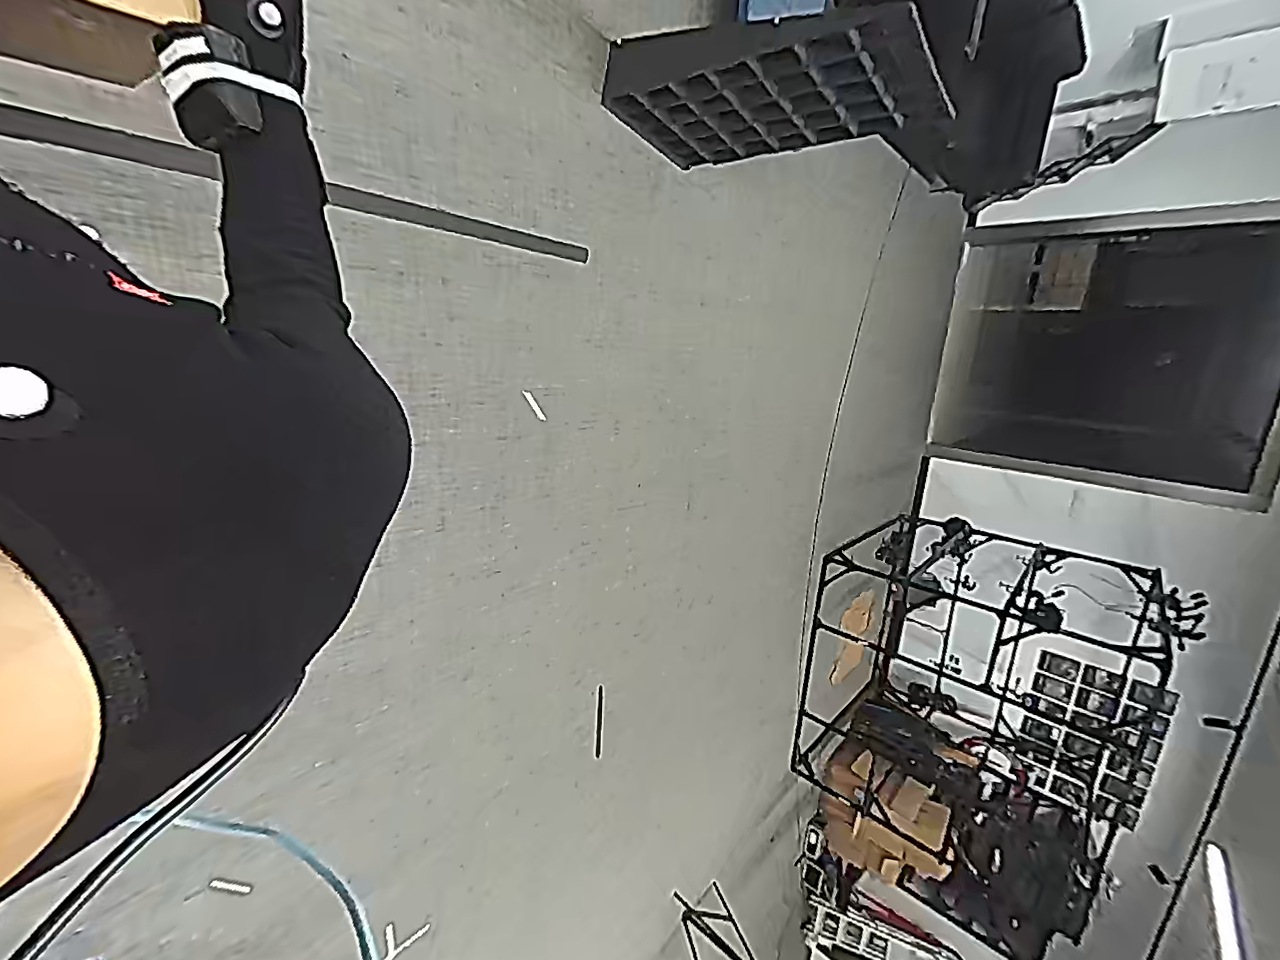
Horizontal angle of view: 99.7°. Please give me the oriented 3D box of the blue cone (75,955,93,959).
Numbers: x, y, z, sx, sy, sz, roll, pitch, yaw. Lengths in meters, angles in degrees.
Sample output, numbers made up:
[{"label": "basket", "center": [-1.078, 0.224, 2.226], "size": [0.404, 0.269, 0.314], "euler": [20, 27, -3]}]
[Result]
[{"label": "blue cone", "center": [-1.227, 1.205, 1.081], "size": [0.193, 0.380, 0.192], "euler": [21, 85, -51]}]

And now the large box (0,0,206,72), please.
[{"label": "large box", "center": [-0.546, -0.482, 0.288], "size": [0.408, 0.320, 0.320], "euler": [-17, 122, -47]}]
